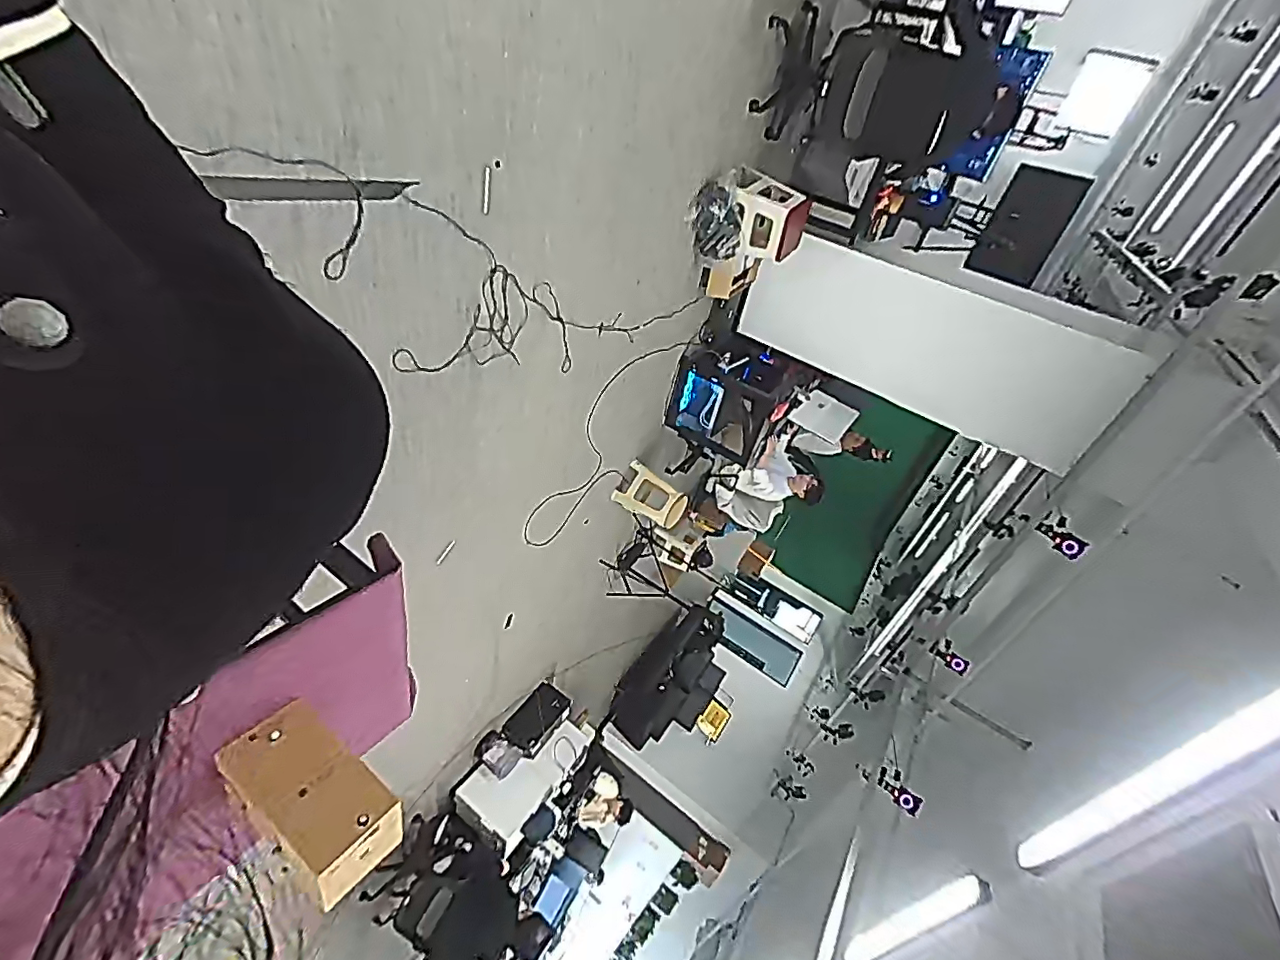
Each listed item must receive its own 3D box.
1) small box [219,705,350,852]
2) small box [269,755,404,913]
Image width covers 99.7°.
[{"bbox_3d":[-0.724,0.607,1.117,0.168,0.176,0.179,-35,148,-49],"label":"small box"},{"bbox_3d":[-0.590,0.684,1.062,0.168,0.176,0.179,-34,149,-50],"label":"small box"}]
